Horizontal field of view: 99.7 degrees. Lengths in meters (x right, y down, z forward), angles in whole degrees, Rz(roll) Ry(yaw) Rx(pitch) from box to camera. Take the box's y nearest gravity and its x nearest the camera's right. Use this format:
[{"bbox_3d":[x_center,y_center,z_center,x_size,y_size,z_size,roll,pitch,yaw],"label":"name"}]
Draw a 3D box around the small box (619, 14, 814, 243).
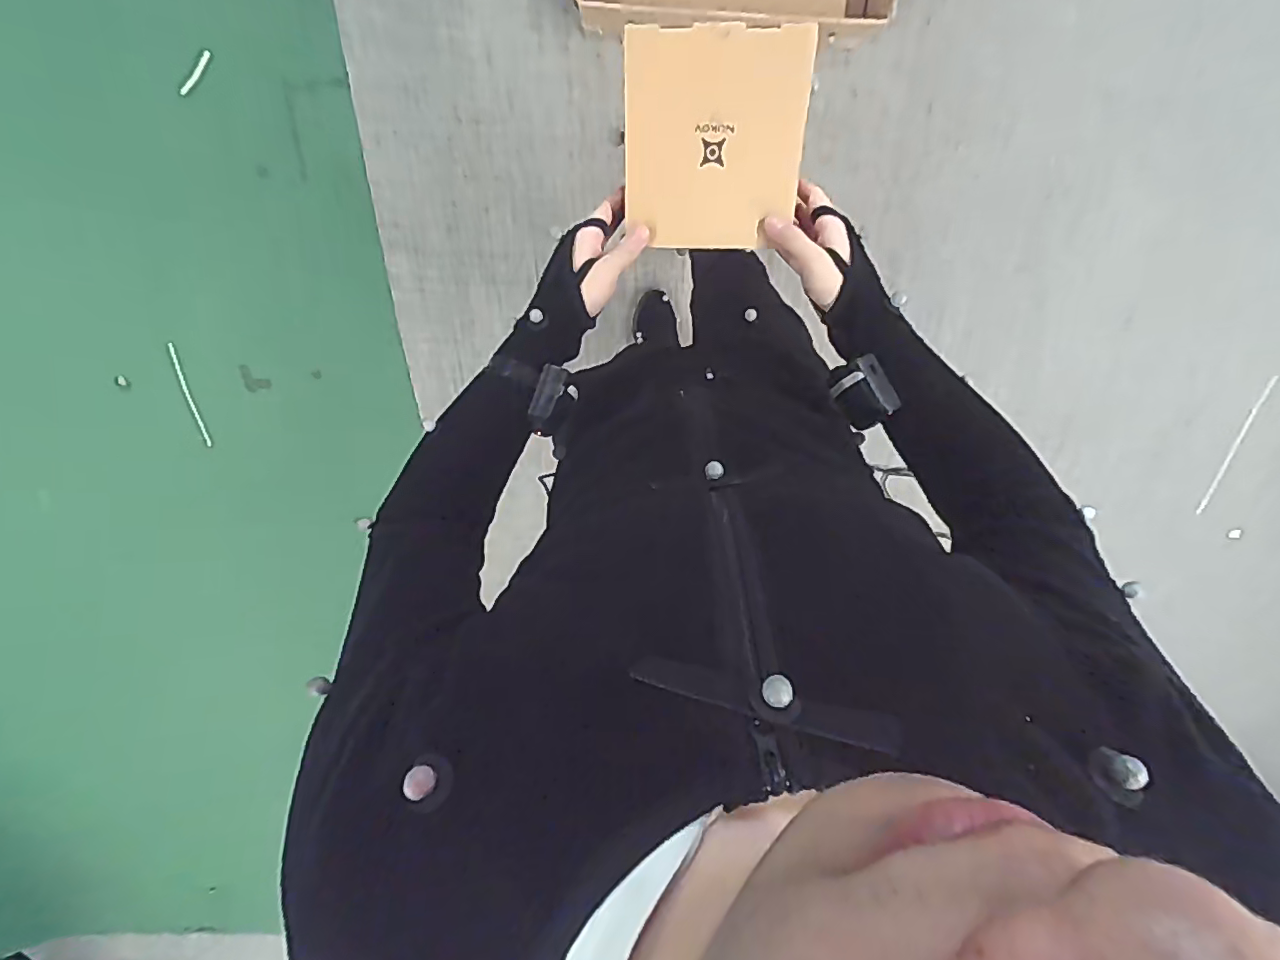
[{"bbox_3d":[0.066,-0.349,0.559,0.168,0.176,0.179,1,118,2],"label":"small box"}]
